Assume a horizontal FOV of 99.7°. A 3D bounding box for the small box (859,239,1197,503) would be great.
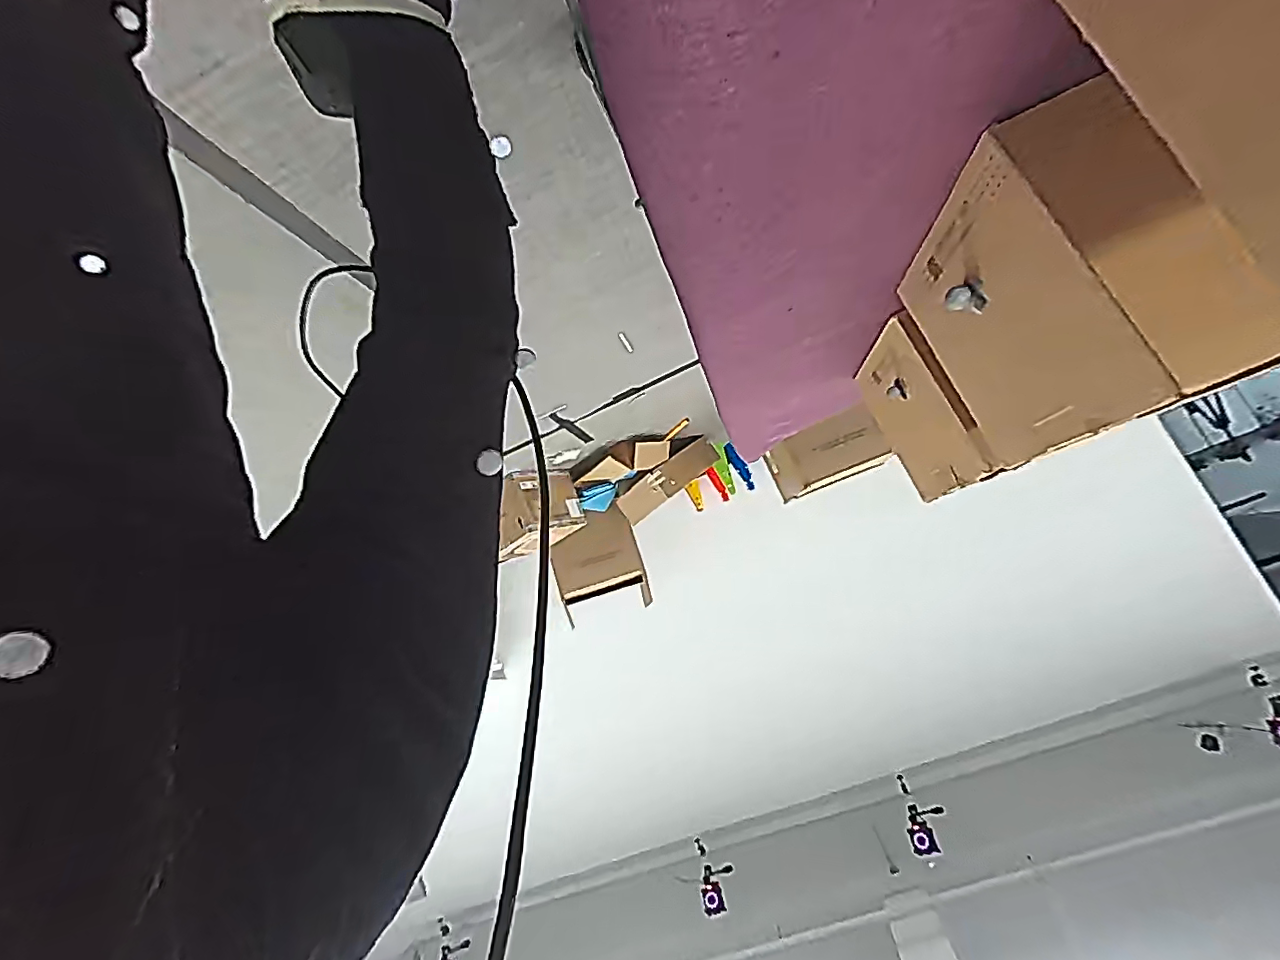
[{"bbox_3d":[0.350,-0.097,0.532,0.179,0.176,0.168,-24,166,5],"label":"small box"}]
